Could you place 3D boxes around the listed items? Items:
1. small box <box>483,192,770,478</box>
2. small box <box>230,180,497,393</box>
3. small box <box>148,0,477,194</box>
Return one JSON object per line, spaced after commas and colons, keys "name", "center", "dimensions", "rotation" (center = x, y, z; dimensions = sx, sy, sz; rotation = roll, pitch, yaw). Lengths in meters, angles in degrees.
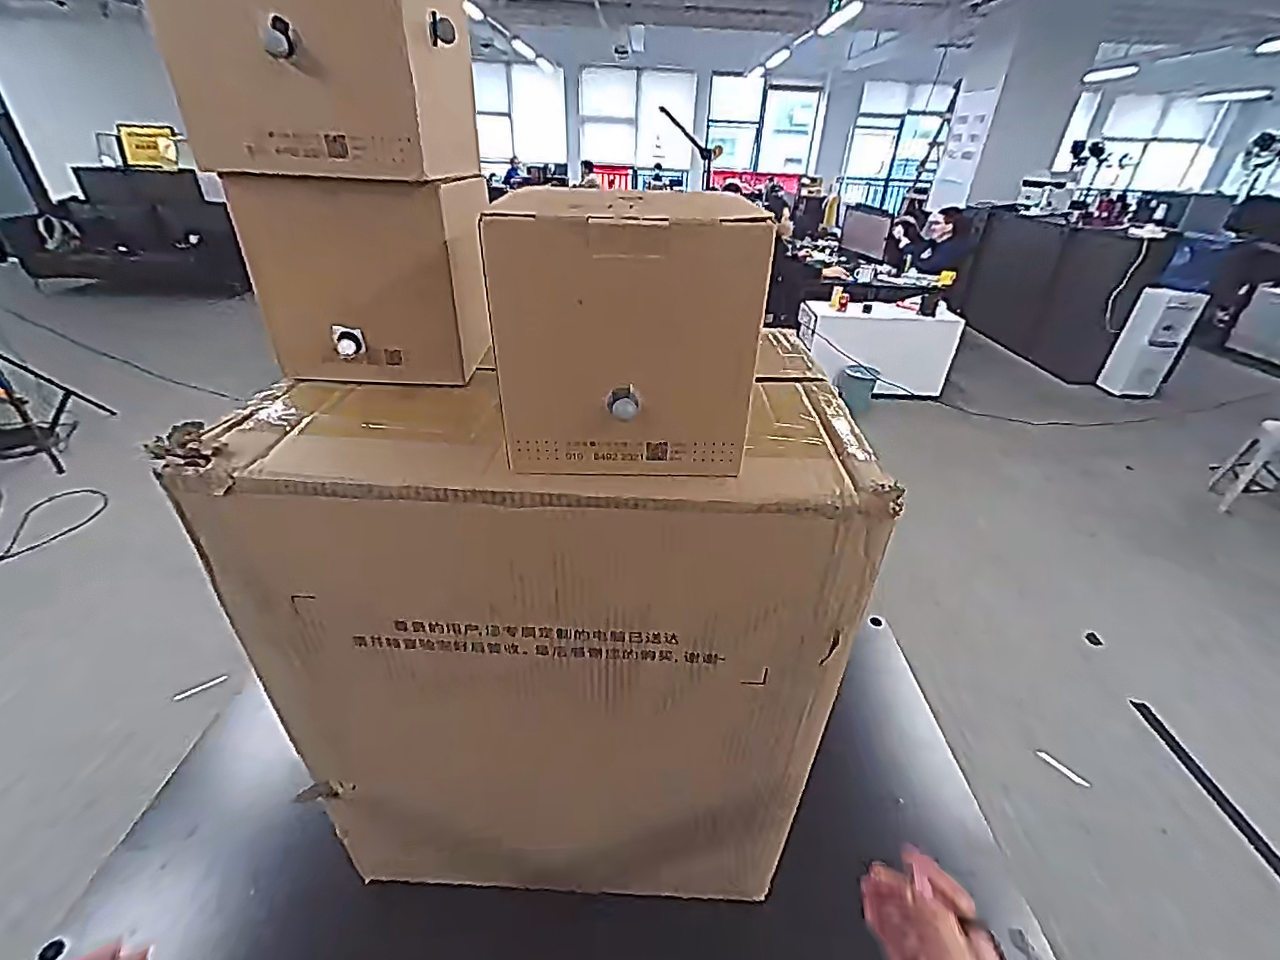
{"name": "small box", "center": [-0.009, -0.118, 0.415], "dimensions": [0.168, 0.176, 0.179], "rotation": [0, 33, -1]}
{"name": "small box", "center": [-0.239, -0.195, 0.526], "dimensions": [0.168, 0.176, 0.179], "rotation": [0, 32, -3]}
{"name": "small box", "center": [-0.236, -0.327, 0.428], "dimensions": [0.168, 0.176, 0.179], "rotation": [1, 32, -2]}
